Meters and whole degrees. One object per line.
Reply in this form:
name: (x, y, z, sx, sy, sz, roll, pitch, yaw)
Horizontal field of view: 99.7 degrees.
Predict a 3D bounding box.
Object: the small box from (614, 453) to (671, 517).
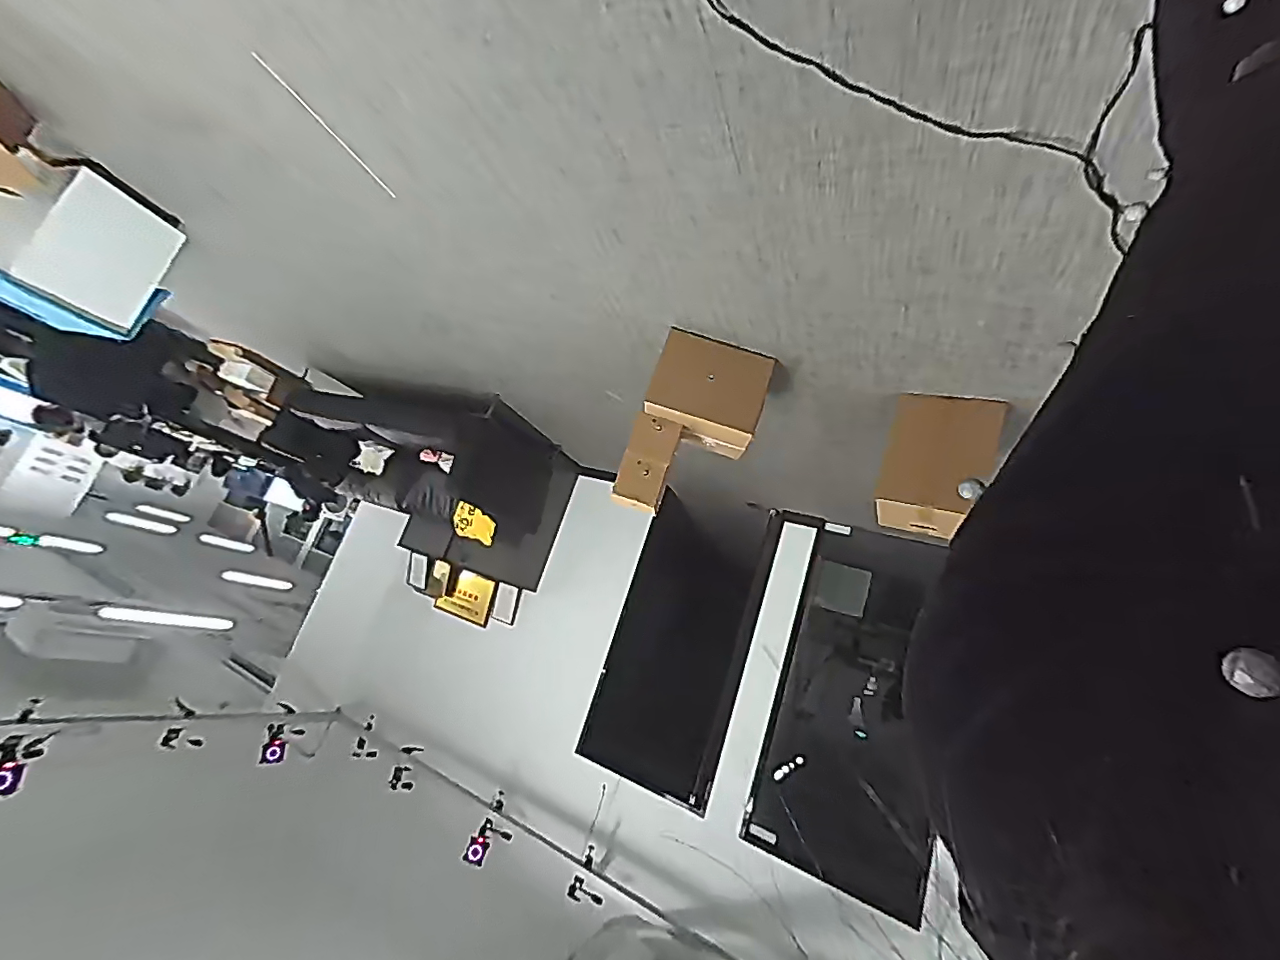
small box: (0.014, 0.020, 2.012, 0.168, 0.176, 0.179, 17, 166, 8)
